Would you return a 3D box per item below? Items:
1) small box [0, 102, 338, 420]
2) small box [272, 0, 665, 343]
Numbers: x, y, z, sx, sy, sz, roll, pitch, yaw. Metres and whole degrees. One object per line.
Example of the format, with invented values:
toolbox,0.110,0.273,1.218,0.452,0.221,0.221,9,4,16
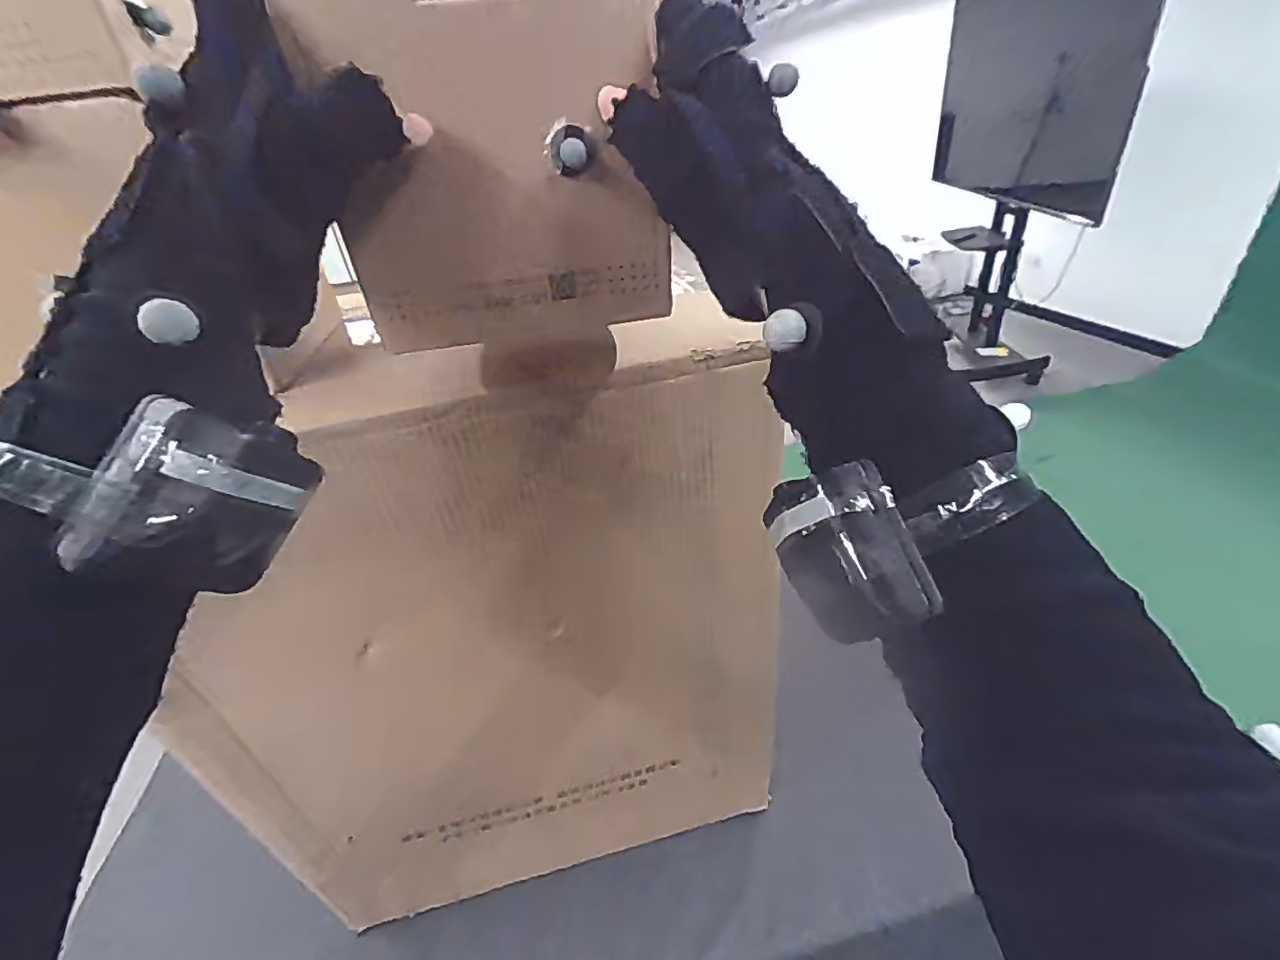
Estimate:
small box,-0.342,-0.152,0.379,0.168,0.176,0.179,-12,35,-7
small box,-0.081,-0.190,0.339,0.168,0.176,0.179,-8,33,-7
